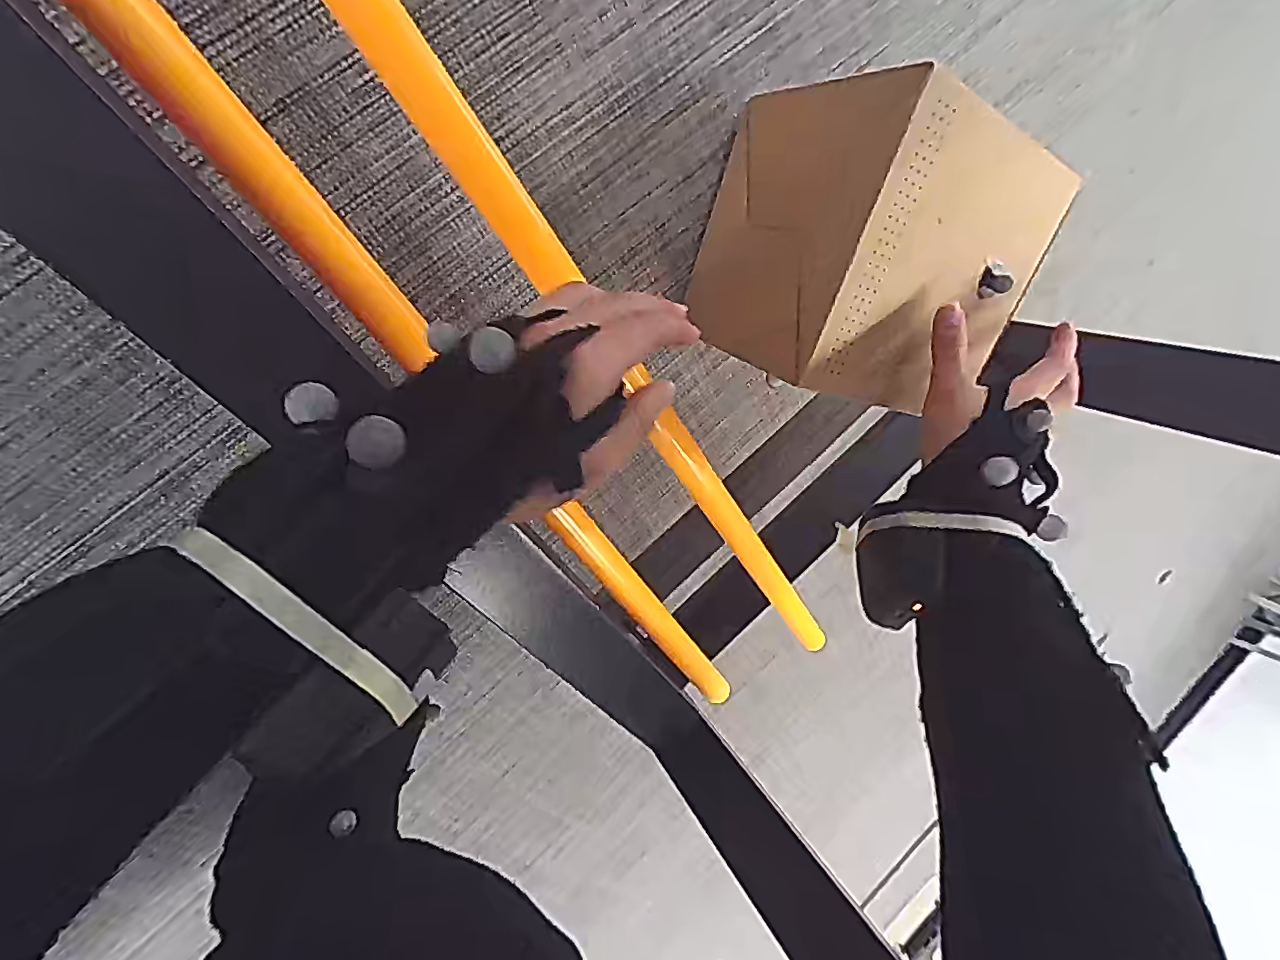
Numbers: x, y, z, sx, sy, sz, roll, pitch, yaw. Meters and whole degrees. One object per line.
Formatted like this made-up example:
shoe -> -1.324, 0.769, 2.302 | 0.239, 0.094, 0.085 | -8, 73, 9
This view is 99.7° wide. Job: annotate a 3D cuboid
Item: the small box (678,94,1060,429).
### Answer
small box -> 0.155, -0.155, 0.410 | 0.176, 0.168, 0.179 | 7, 112, -30
